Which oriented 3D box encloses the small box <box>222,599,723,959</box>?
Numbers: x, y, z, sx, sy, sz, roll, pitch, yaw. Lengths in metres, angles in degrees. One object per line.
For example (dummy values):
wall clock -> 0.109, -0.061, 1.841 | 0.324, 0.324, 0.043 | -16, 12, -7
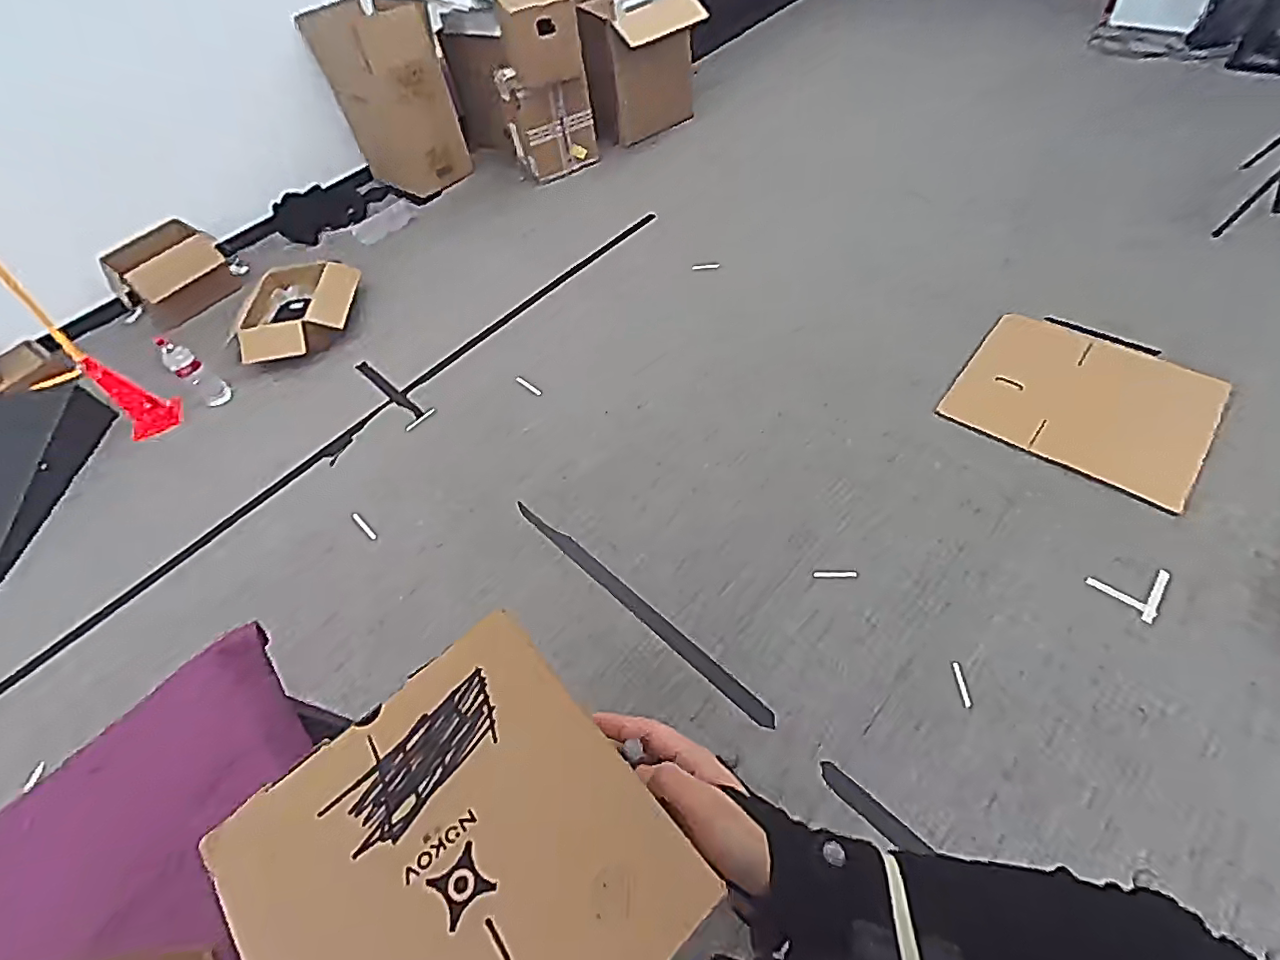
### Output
small box -> -0.076, 0.208, 0.307 | 0.168, 0.176, 0.179 | -38, 61, -20
